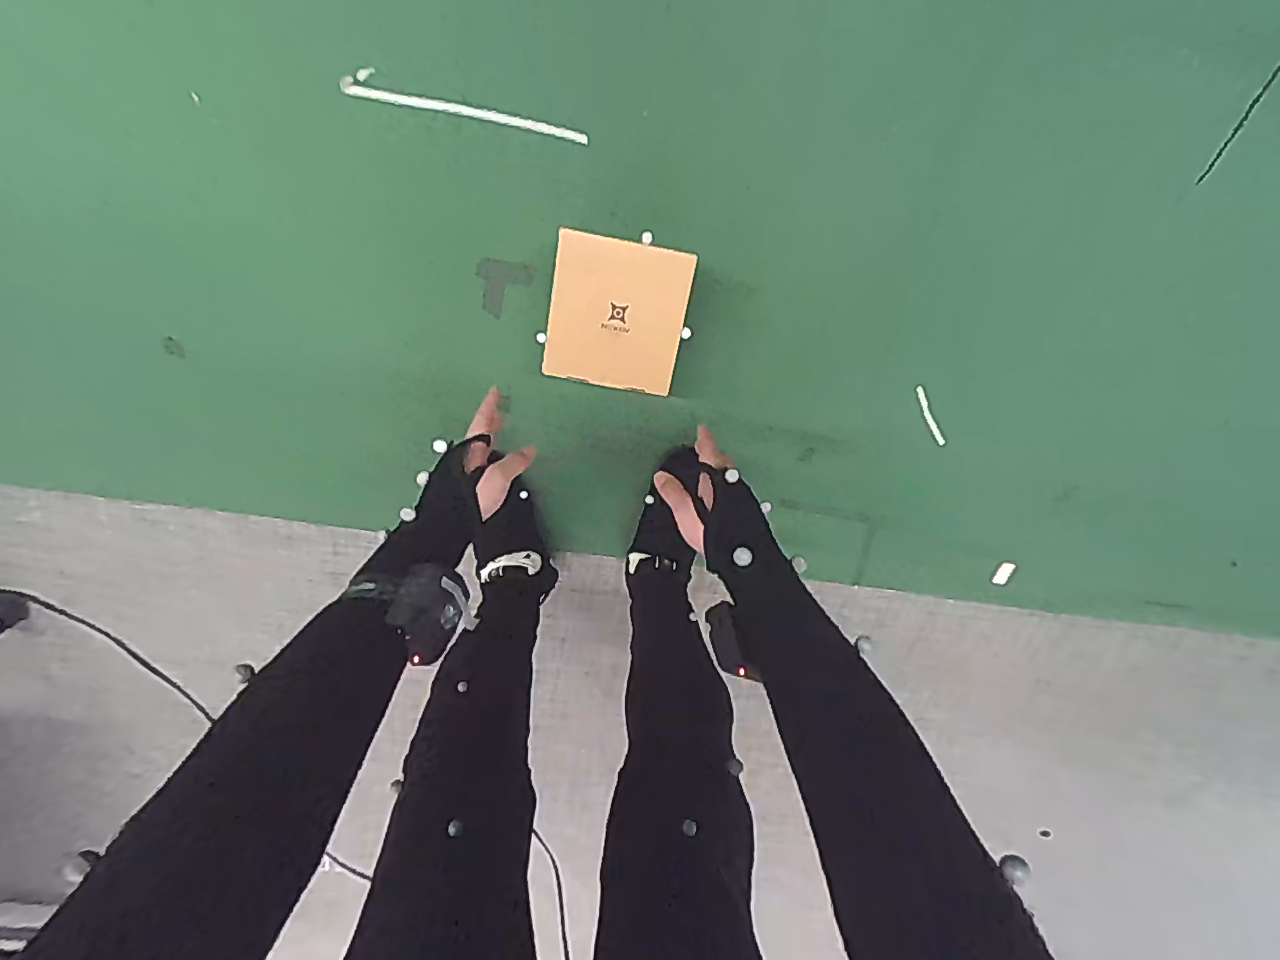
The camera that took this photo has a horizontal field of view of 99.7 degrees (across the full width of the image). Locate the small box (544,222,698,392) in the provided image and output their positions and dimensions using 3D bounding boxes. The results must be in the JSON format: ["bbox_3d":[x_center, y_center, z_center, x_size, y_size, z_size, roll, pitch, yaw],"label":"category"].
[{"bbox_3d":[-0.030,-0.238,0.733,0.168,0.176,0.179,9,115,-6],"label":"small box"}]
